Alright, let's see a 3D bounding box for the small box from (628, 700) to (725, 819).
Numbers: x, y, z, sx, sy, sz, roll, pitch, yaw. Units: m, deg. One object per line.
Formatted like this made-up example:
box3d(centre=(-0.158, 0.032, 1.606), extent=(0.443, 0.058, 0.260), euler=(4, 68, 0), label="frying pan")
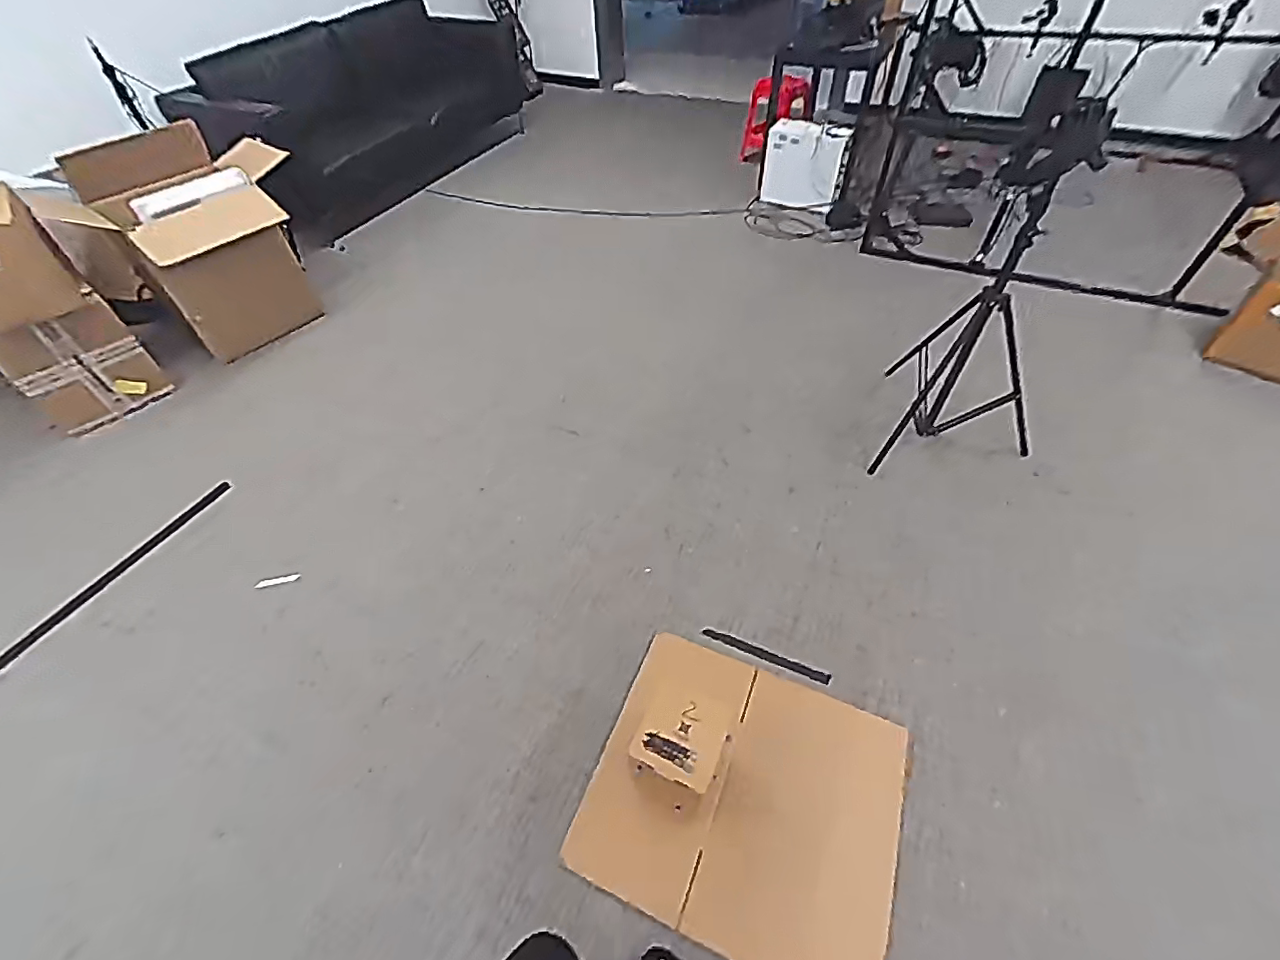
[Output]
box3d(centre=(0.087, 0.658, 1.267), extent=(0.168, 0.176, 0.179), euler=(22, 53, 18), label="small box")
